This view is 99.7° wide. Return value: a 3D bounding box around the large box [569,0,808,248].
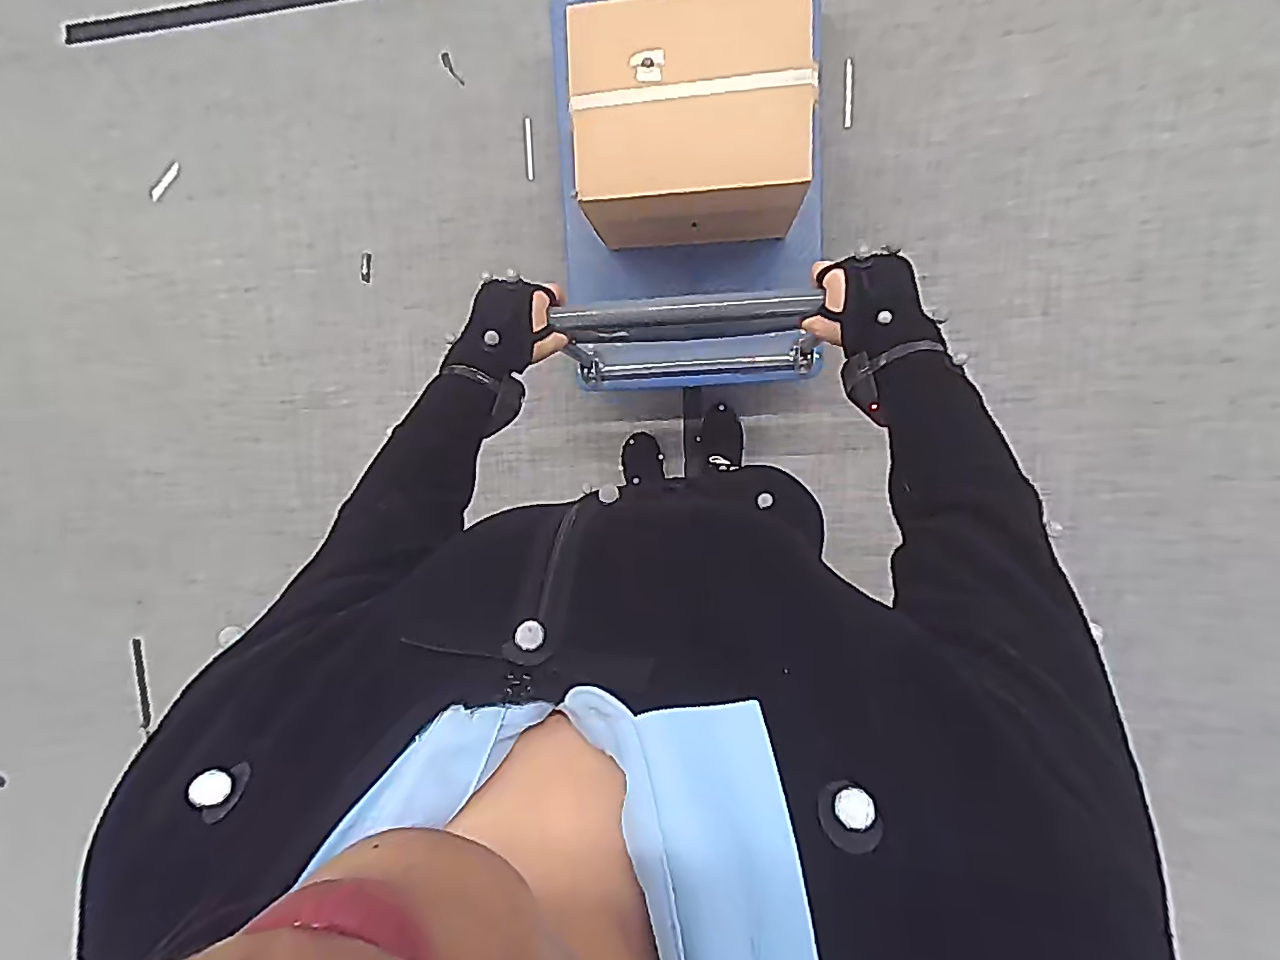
[{"bbox_3d":[0.102,-0.672,1.066,0.408,0.320,0.320,-1,97,8],"label":"large box"}]
